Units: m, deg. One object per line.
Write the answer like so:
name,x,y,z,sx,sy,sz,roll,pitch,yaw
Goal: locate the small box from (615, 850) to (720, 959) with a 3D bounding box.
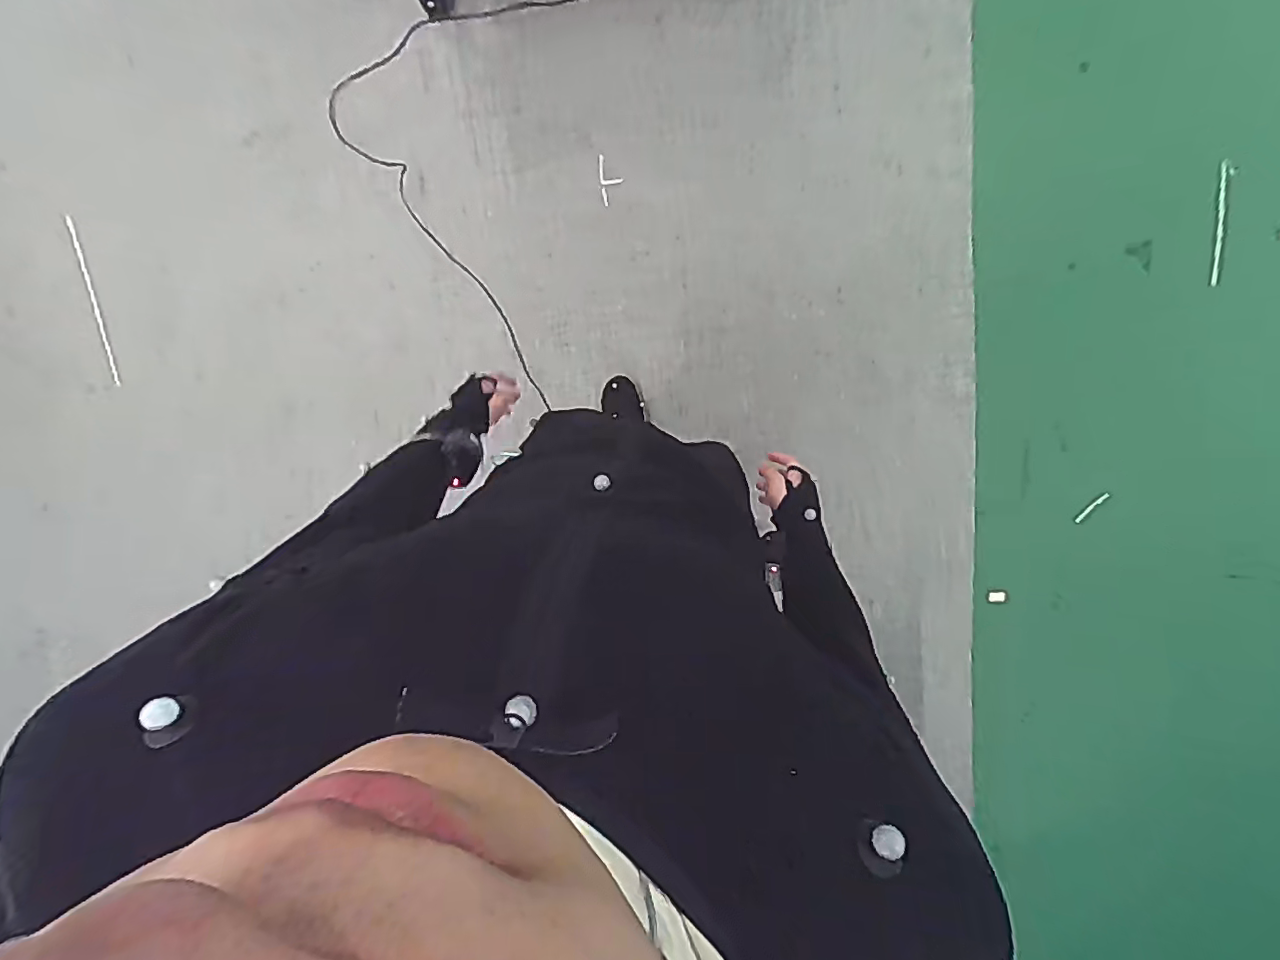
small box,0.049,0.774,0.932,0.168,0.176,0.179,-5,101,3
